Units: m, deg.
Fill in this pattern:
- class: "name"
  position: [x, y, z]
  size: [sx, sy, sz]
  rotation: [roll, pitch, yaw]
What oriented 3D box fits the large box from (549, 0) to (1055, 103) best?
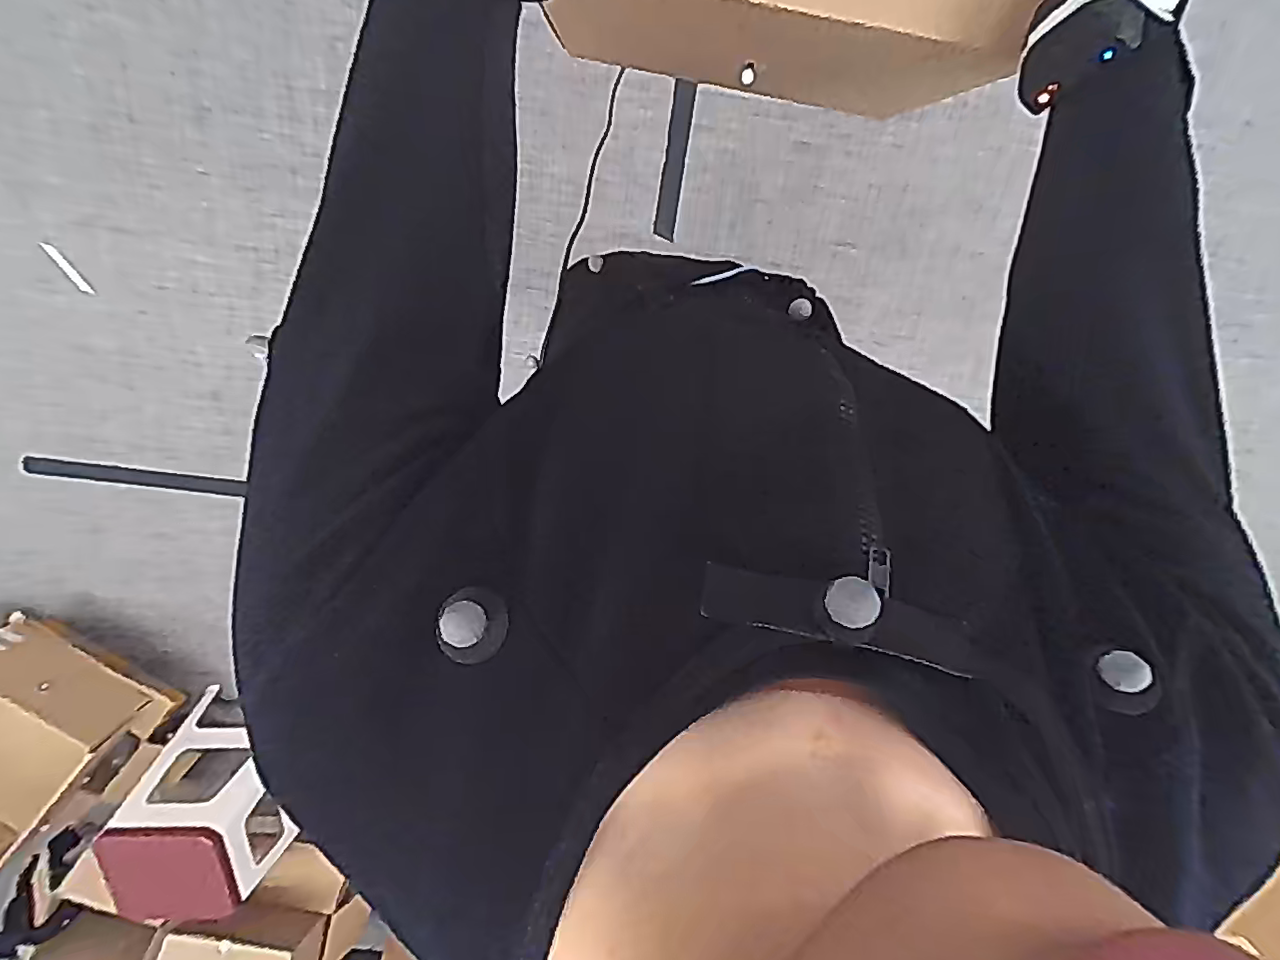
- class: "large box"
  position: [0.134, -0.556, 0.462]
  size: [0.408, 0.320, 0.320]
  rotation: [9, 116, -3]
